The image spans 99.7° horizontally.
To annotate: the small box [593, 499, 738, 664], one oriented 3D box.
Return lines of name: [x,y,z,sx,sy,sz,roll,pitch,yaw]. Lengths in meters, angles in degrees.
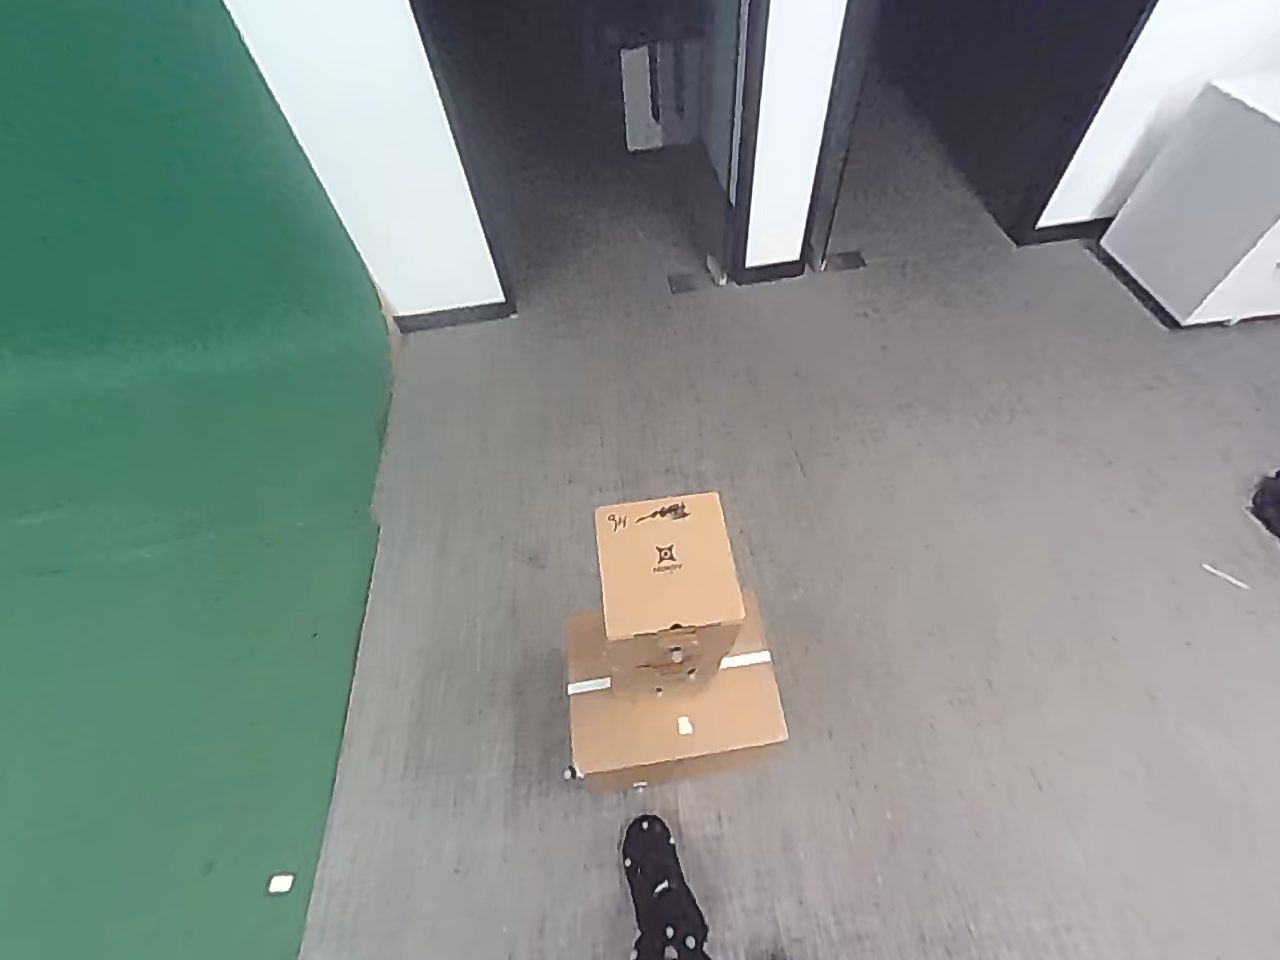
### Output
small box: [0.032,0.148,0.744,0.168,0.176,0.179,-8,61,-1]

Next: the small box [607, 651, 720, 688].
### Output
small box: [0.030,0.233,0.884,0.168,0.176,0.179,-8,59,-2]

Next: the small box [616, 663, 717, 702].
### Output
small box: [0.039,0.314,1.023,0.179,0.176,0.168,-9,61,-1]
